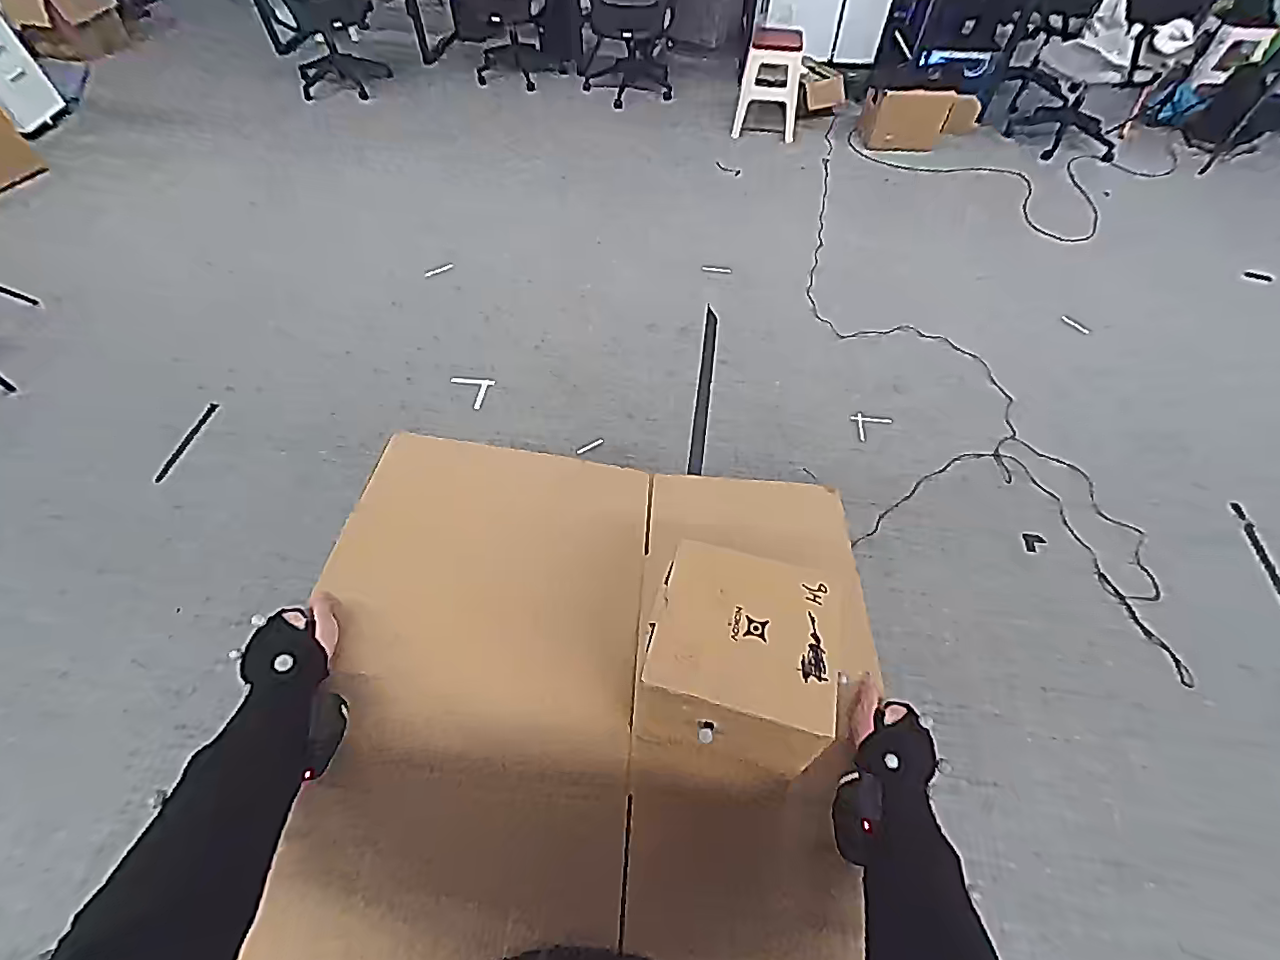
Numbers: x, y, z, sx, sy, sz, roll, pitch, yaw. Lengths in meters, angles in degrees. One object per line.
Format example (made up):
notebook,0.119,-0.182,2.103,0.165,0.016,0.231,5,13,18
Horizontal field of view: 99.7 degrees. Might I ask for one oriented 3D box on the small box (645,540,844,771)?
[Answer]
small box,0.109,0.194,0.590,0.179,0.176,0.168,12,50,10
